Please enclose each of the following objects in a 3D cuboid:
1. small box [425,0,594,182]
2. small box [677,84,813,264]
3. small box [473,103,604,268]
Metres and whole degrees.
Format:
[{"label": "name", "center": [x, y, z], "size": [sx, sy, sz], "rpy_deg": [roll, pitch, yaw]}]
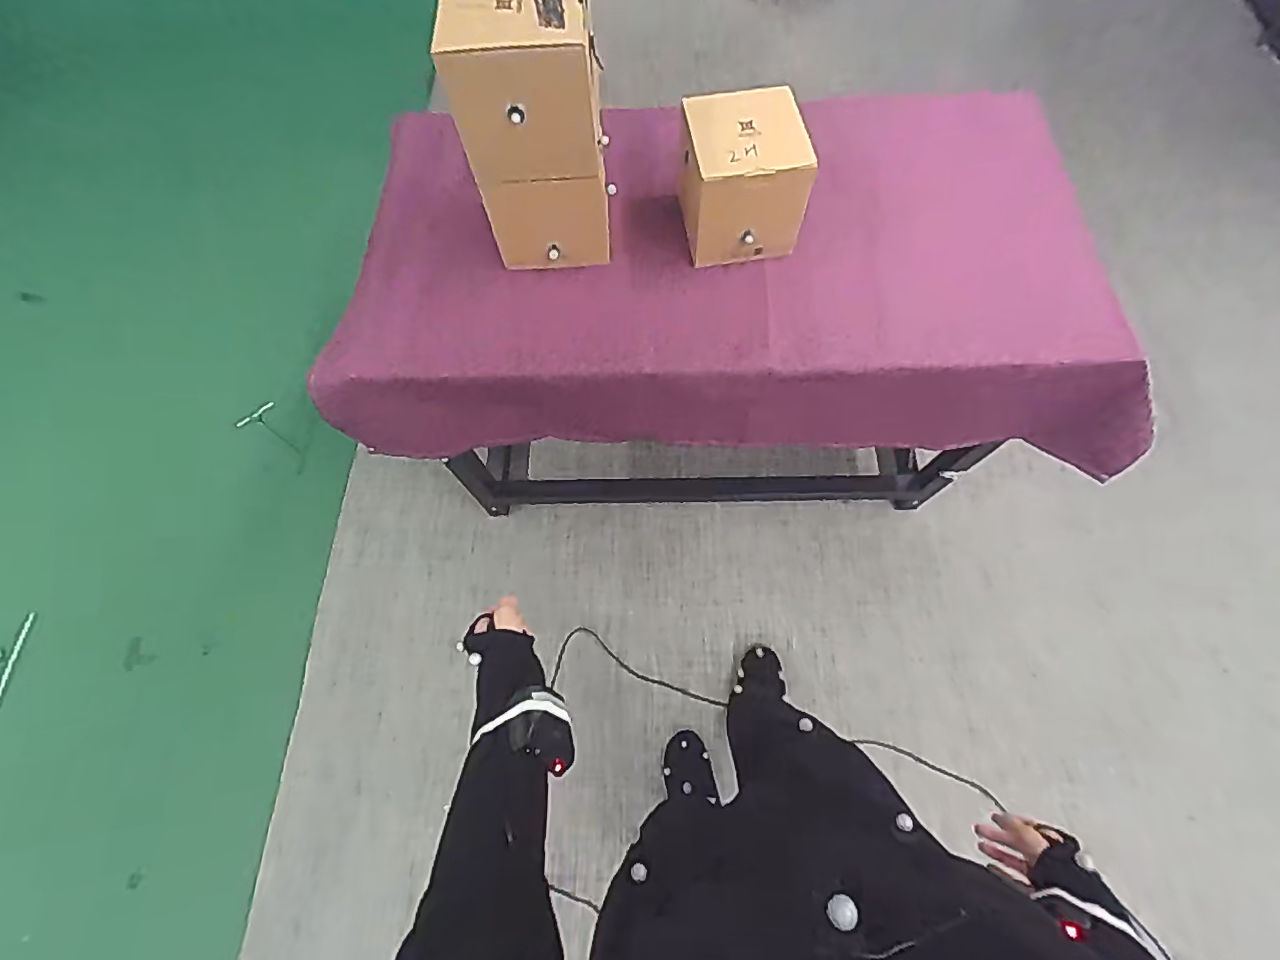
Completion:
[{"label": "small box", "center": [-0.153, -0.519, 0.702], "size": [0.179, 0.176, 0.168], "rpy_deg": [-3, 69, 2]}, {"label": "small box", "center": [0.151, -0.474, 0.850], "size": [0.168, 0.176, 0.179], "rpy_deg": [-8, 69, 0]}, {"label": "small box", "center": [-0.148, -0.459, 0.856], "size": [0.179, 0.176, 0.168], "rpy_deg": [-3, 68, 1]}]
